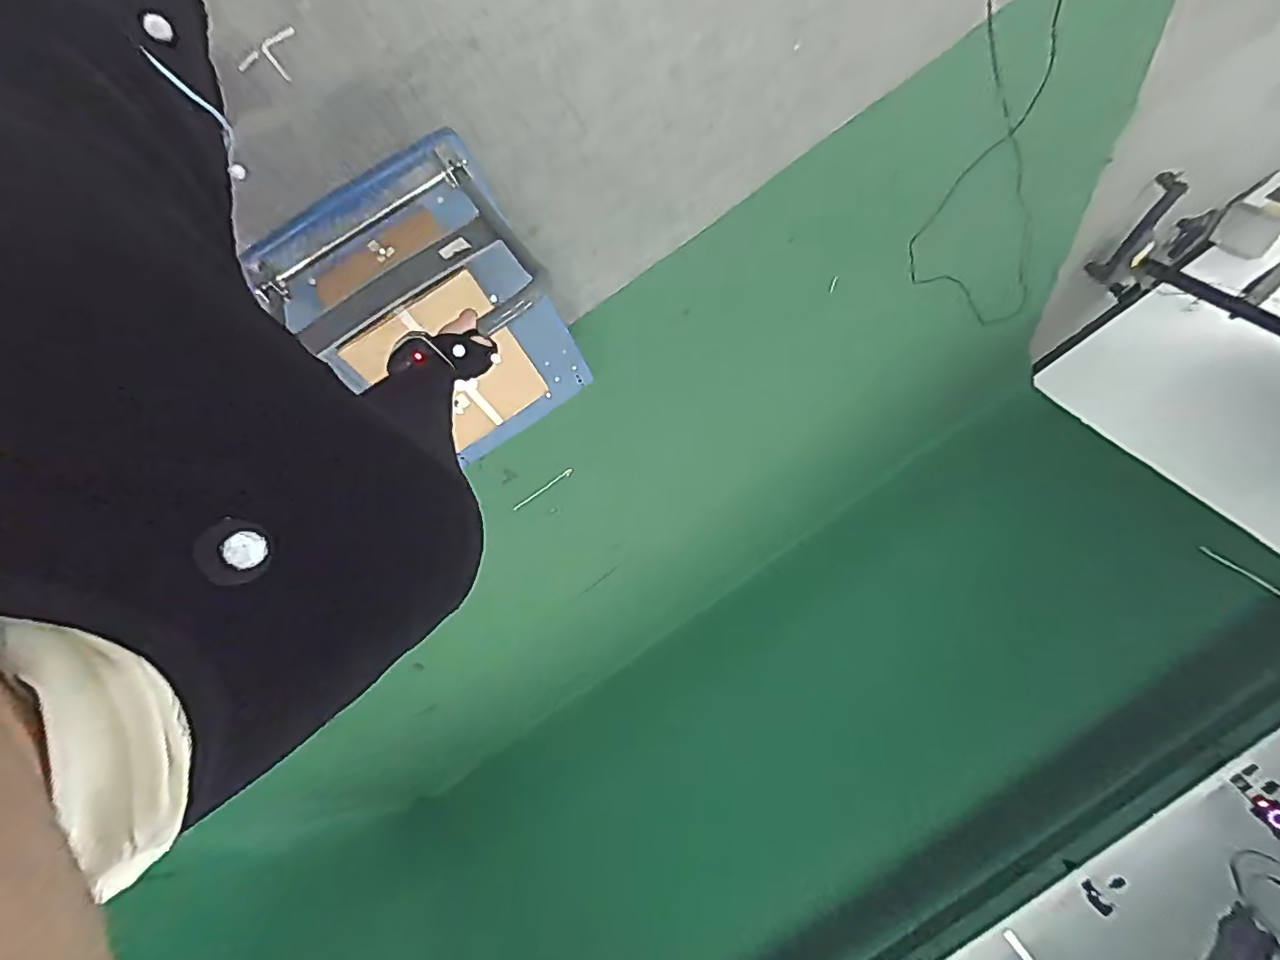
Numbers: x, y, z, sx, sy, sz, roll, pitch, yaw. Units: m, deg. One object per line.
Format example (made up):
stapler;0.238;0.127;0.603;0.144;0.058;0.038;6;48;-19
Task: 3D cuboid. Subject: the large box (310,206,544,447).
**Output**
large box;-0.508;-0.363;1.326;0.320;0.320;0.408;-34;147;-2
